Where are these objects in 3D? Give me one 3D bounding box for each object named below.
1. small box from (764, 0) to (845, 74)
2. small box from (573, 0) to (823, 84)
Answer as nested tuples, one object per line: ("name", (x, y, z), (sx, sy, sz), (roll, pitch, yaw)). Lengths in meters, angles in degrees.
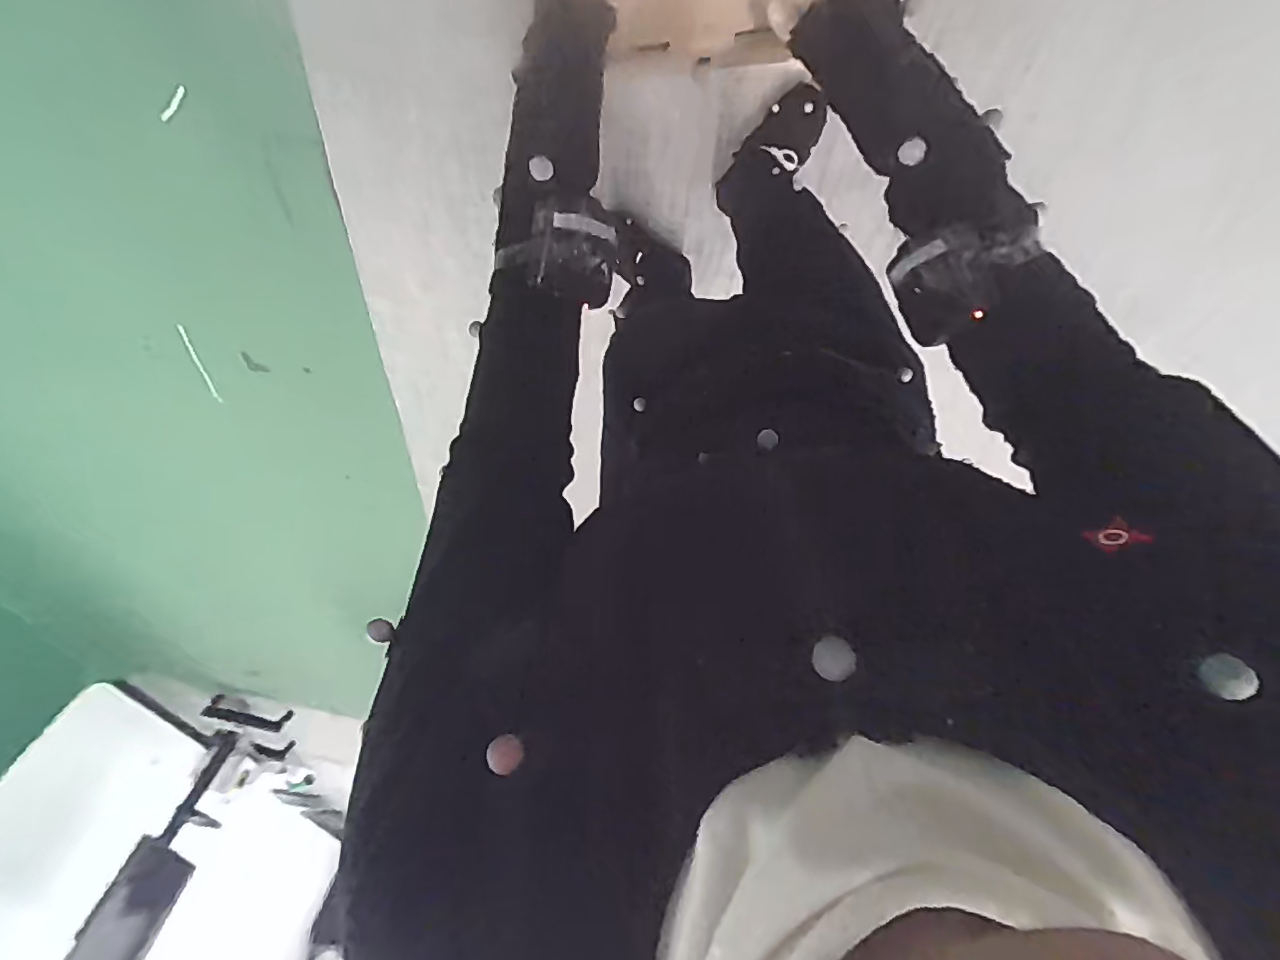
("small box", (0.147, -0.592, 0.622), (0.179, 0.176, 0.168), (8, 138, 4))
("small box", (0.040, -0.403, 0.390), (0.168, 0.176, 0.179), (-3, 121, 9))
